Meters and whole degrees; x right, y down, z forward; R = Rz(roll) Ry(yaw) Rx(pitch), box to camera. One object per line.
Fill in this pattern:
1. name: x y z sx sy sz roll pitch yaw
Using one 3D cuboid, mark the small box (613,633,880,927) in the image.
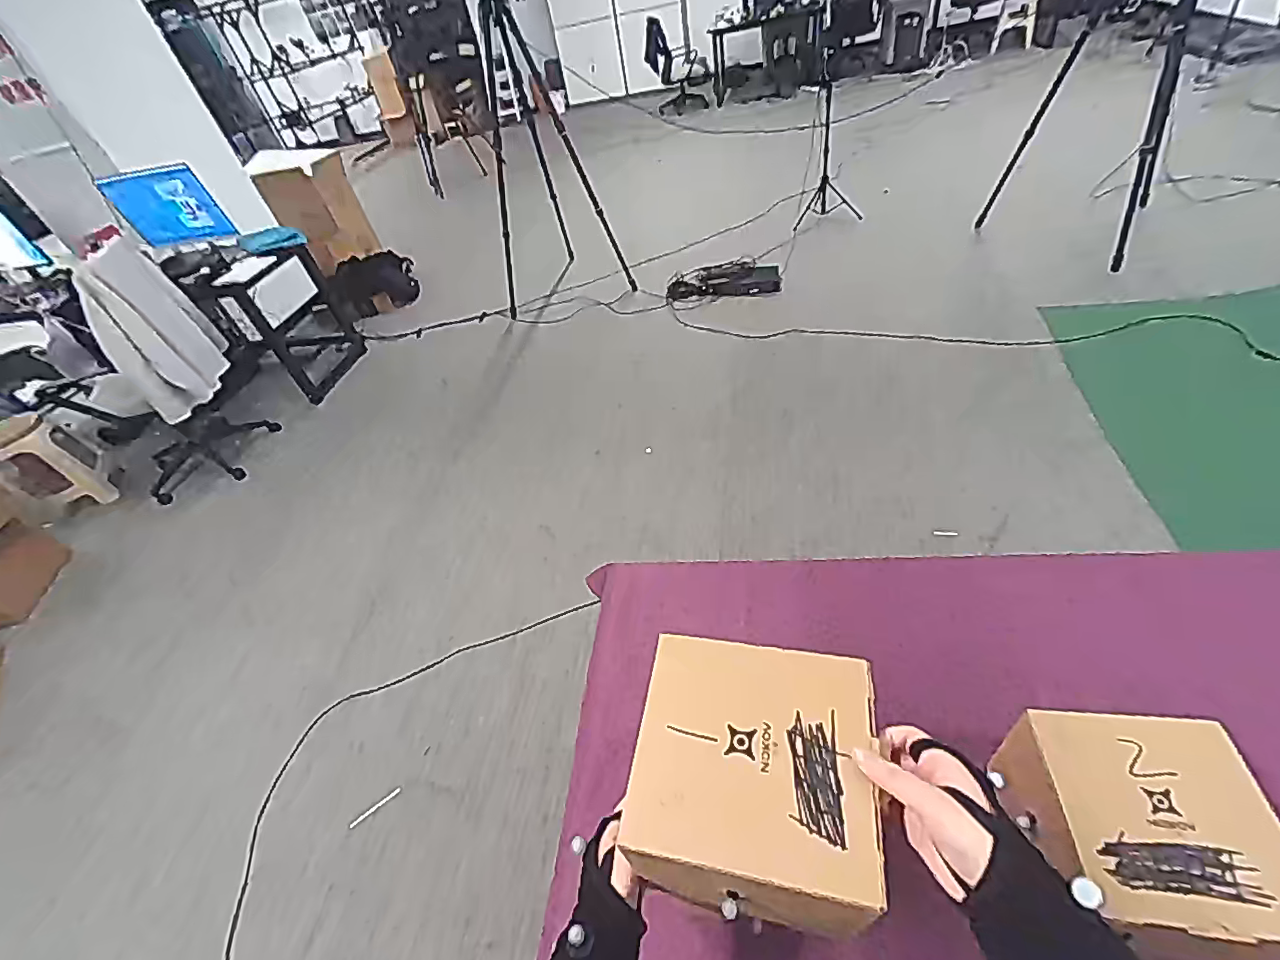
1. small box: 0.094 0.256 0.463 0.179 0.176 0.168 4 47 15
